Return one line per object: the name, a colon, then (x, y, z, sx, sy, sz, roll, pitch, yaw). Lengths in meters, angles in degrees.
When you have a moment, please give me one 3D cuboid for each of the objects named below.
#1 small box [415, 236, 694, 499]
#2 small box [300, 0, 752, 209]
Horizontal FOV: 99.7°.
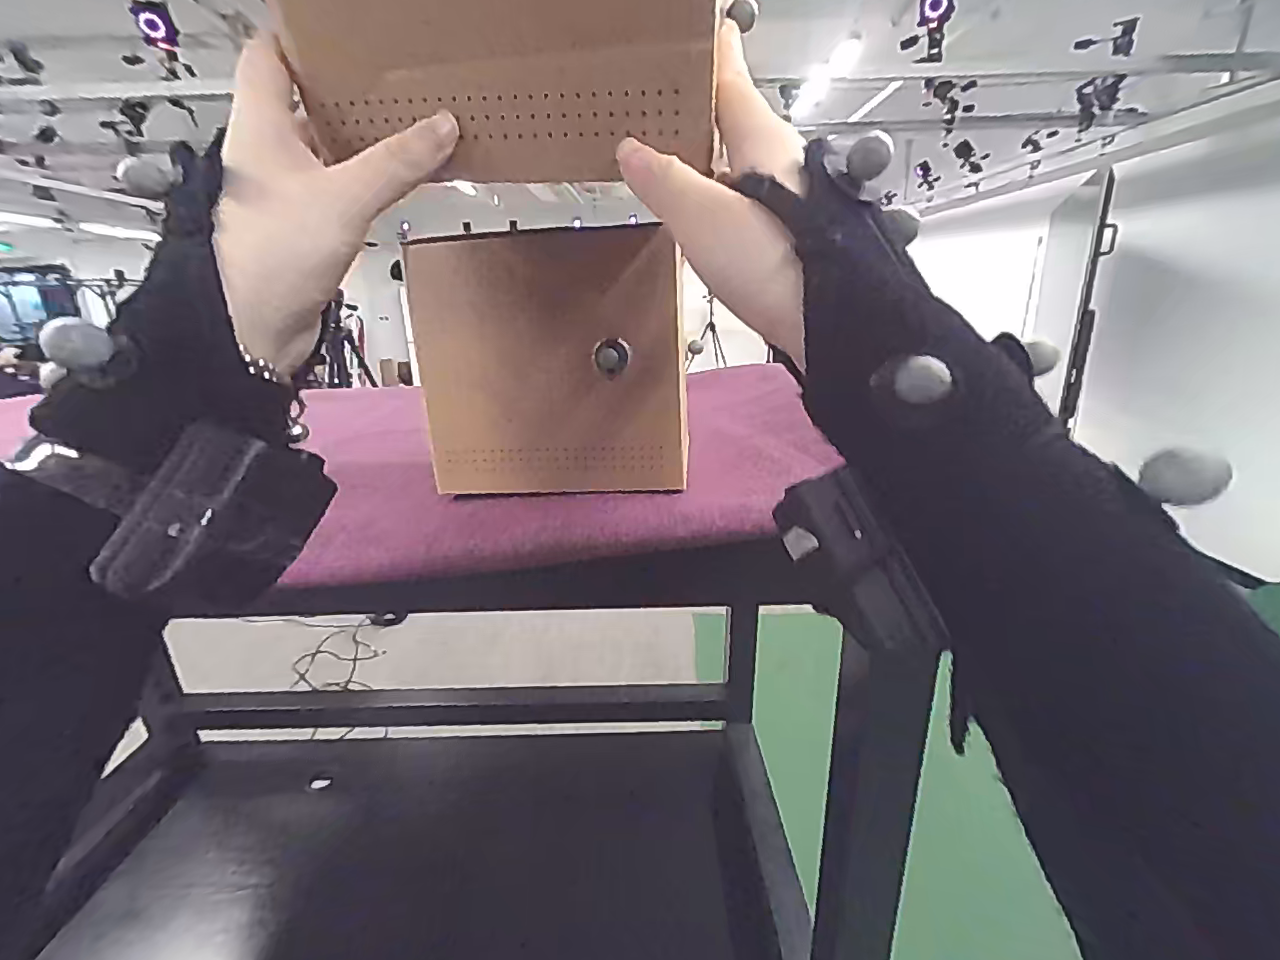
small box: (-0.046, -0.087, 0.430, 0.179, 0.176, 0.168, -2, 15, 6)
small box: (-0.039, -0.232, 0.248, 0.179, 0.176, 0.168, 5, 40, 9)
